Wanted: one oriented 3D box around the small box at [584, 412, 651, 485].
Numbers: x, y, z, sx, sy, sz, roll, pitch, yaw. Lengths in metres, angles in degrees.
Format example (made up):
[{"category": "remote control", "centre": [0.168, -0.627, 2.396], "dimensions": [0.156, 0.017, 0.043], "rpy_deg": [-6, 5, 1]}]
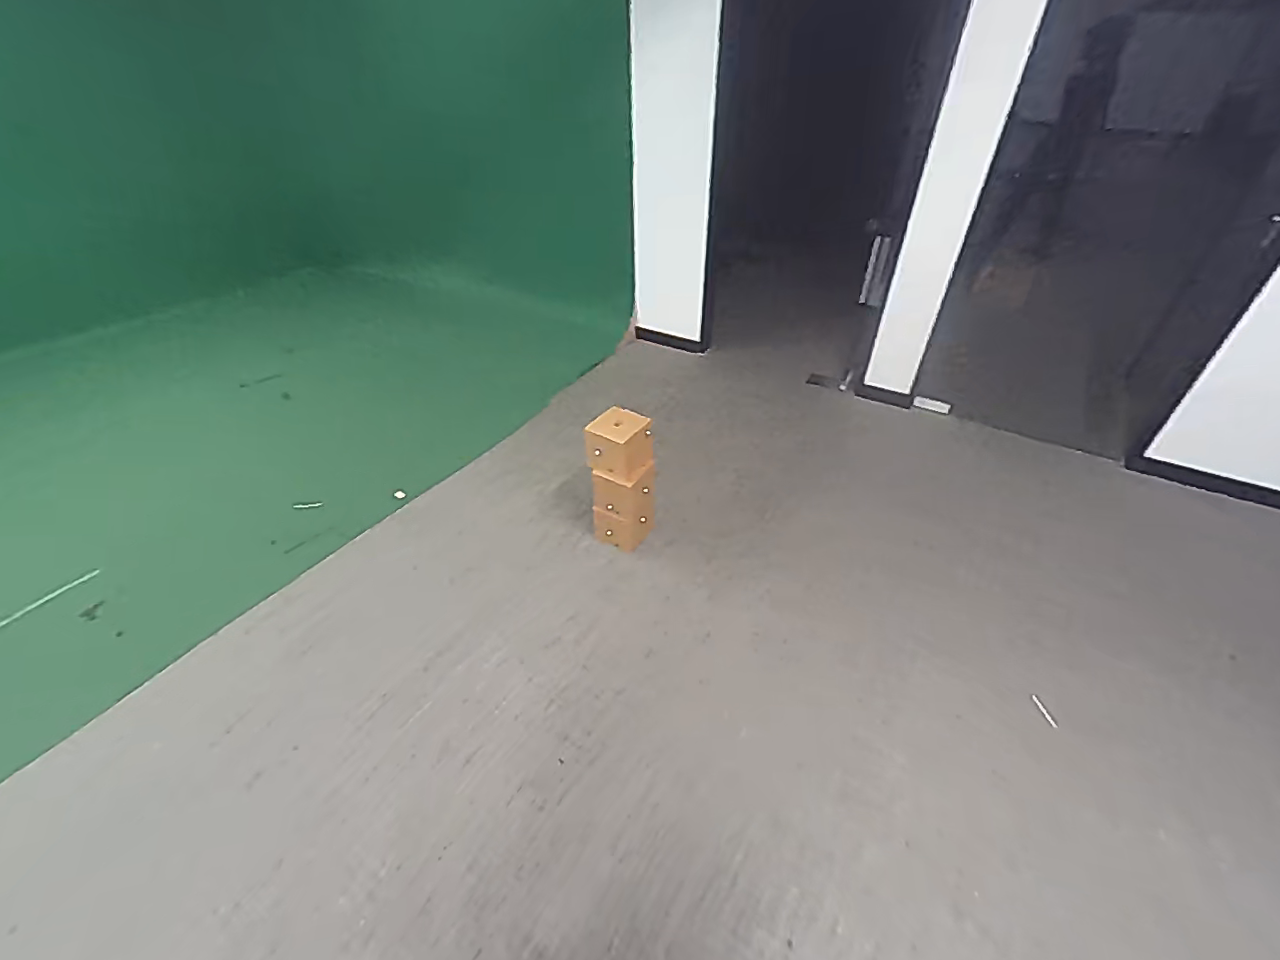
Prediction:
[{"category": "small box", "centre": [-0.071, -0.107, 1.886], "dimensions": [0.168, 0.176, 0.179], "rpy_deg": [22, 44, 27]}]
